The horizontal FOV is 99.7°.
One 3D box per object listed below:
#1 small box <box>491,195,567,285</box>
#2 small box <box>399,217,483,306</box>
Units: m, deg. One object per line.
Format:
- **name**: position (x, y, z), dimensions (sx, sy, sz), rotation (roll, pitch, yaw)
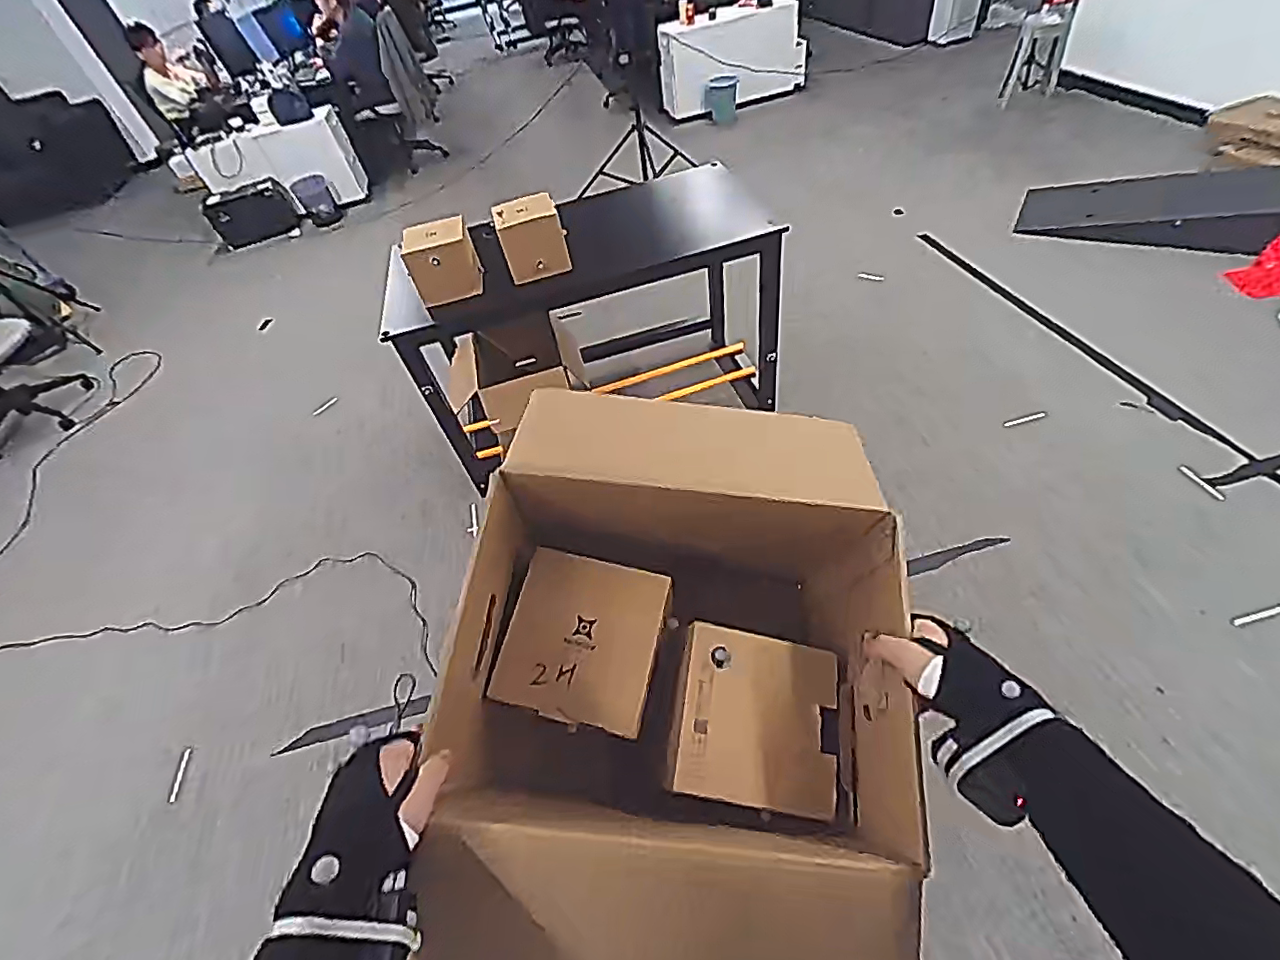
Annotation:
- **small box**: position (-0.317, -0.698, 1.576), dimensions (0.179, 0.176, 0.168), rotation (-17, 48, -5)
- **small box**: position (-0.571, -0.626, 1.564), dimensions (0.179, 0.176, 0.168), rotation (-15, 49, -4)
